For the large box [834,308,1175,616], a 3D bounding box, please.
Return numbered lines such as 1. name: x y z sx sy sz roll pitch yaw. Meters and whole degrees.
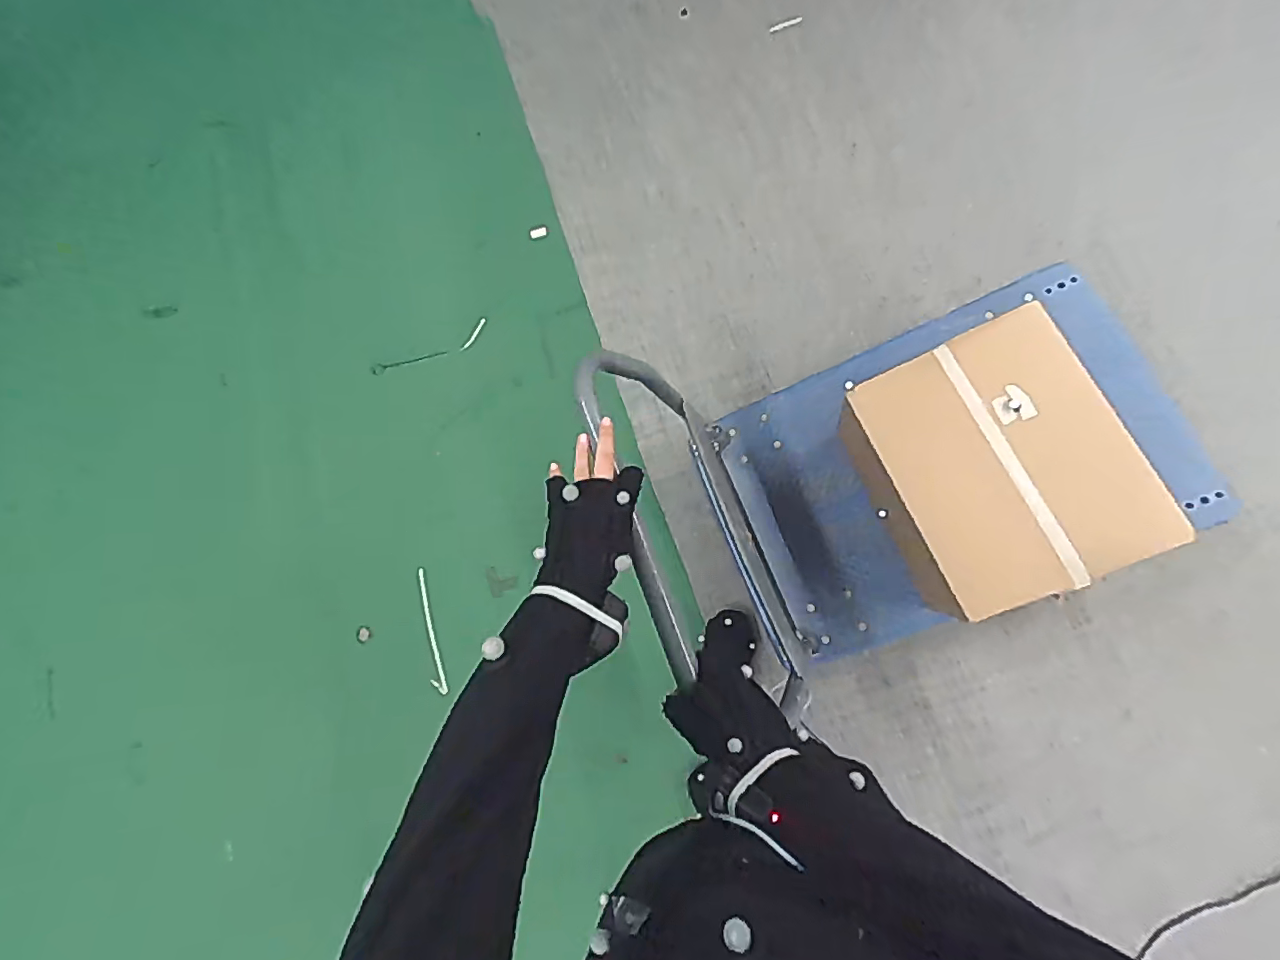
1. large box: 0.584 -0.011 0.971 0.320 0.320 0.408 -26 74 12
